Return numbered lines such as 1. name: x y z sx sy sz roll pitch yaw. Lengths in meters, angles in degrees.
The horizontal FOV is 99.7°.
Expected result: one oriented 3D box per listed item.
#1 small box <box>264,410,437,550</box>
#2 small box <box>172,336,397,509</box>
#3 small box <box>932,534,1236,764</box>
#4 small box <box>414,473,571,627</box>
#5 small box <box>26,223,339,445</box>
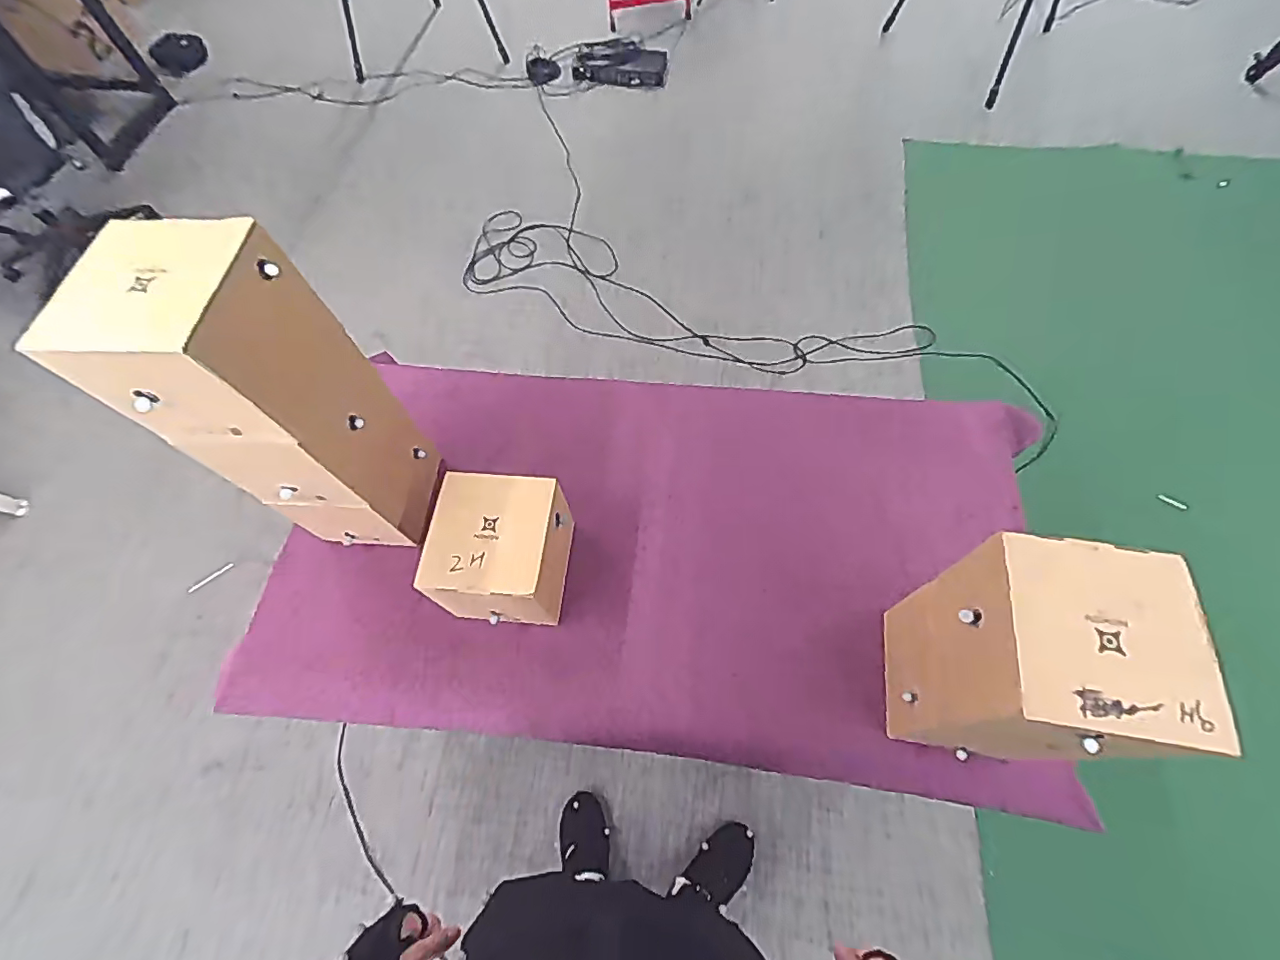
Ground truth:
1. small box: -0.453 -0.001 0.882 0.168 0.176 0.179 3 64 5
2. small box: -0.460 -0.077 0.737 0.168 0.176 0.179 2 64 5
3. small box: 0.419 0.177 0.554 0.168 0.176 0.179 8 62 9
4. small box: -0.205 0.109 0.811 0.168 0.176 0.179 4 63 6
5. small box: -0.469 -0.151 0.593 0.168 0.176 0.179 2 63 5
